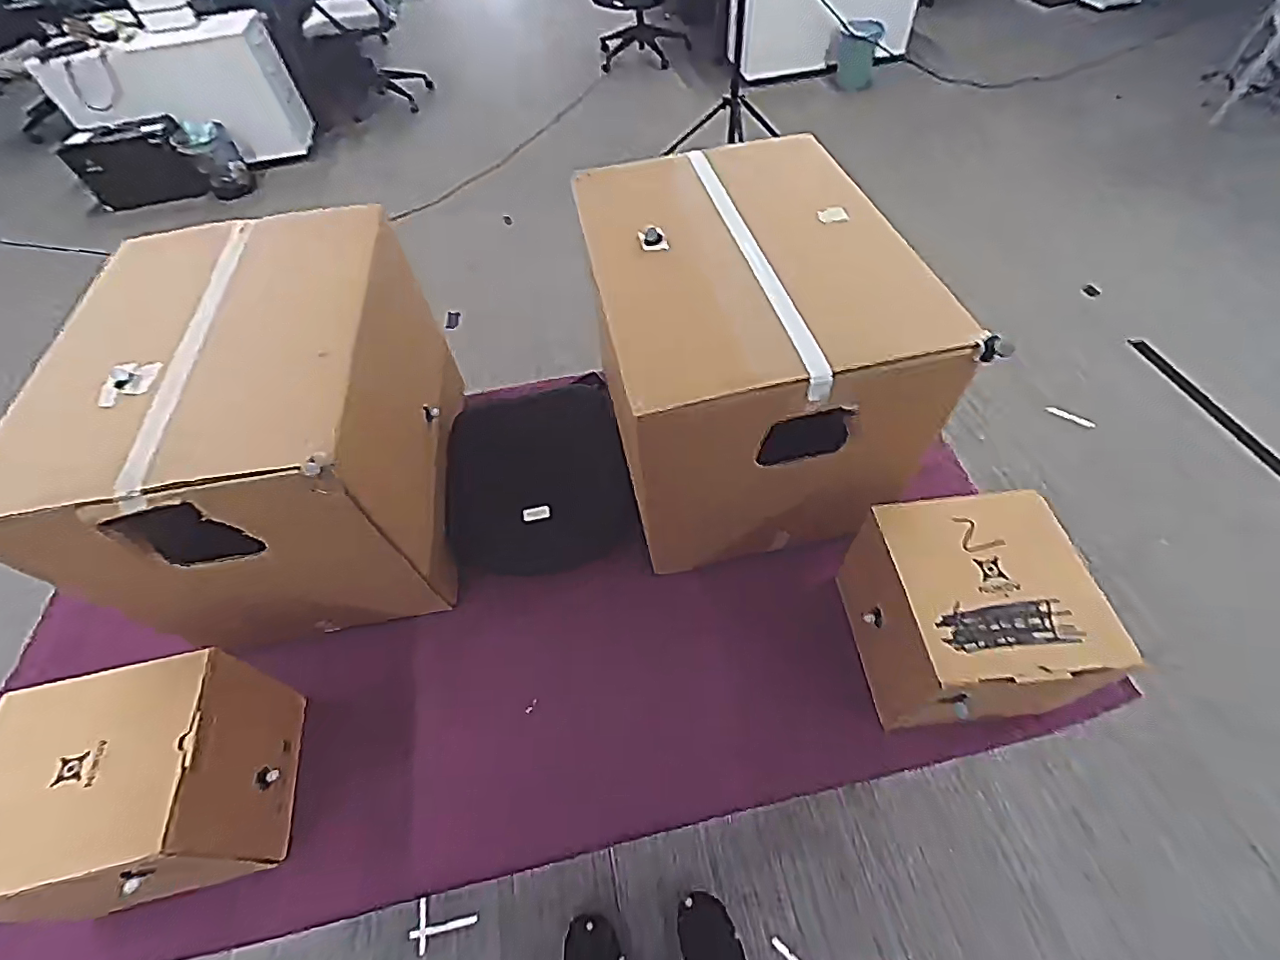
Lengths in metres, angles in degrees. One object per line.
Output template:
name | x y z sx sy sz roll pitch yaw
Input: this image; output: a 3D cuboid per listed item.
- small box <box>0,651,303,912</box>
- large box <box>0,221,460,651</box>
small box | -0.463 0.289 0.515 0.179 0.176 0.168 -12 54 -8
large box | -0.425 -0.050 0.673 0.320 0.320 0.408 -11 57 -2
